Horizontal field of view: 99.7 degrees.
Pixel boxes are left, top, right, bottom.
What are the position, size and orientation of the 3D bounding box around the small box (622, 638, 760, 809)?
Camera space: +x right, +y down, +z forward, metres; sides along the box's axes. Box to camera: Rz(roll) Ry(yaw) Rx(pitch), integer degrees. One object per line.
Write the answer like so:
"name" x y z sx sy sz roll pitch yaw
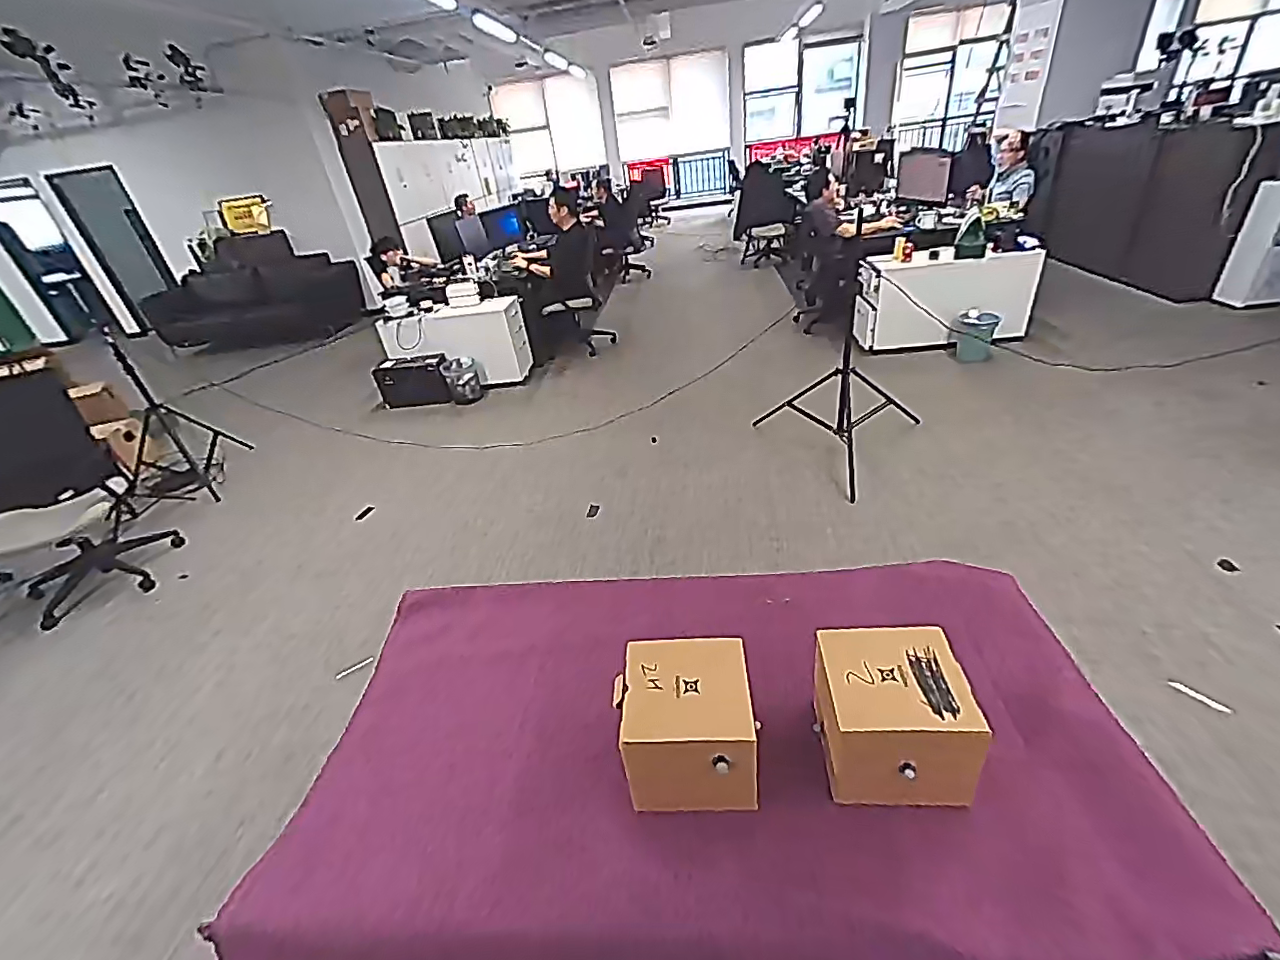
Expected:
"small box" 0.076 0.353 0.787 0.179 0.176 0.168 -5 31 6
